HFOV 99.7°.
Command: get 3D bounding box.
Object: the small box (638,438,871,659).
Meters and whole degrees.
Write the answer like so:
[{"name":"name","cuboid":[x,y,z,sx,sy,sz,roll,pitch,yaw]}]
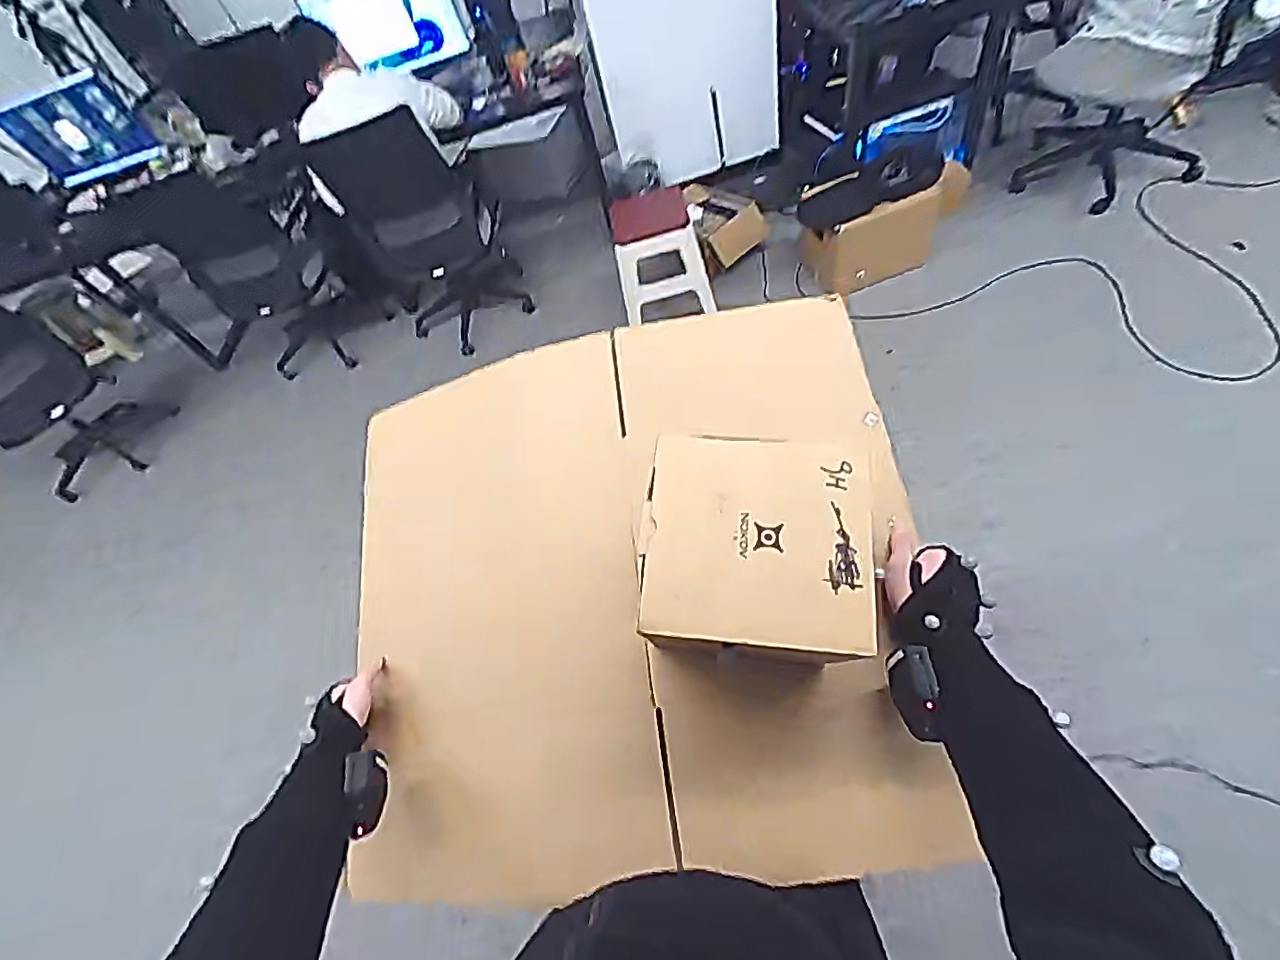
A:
[{"name":"small box","cuboid":[0.102,0.073,0.507,0.179,0.176,0.168,4,70,8]}]
